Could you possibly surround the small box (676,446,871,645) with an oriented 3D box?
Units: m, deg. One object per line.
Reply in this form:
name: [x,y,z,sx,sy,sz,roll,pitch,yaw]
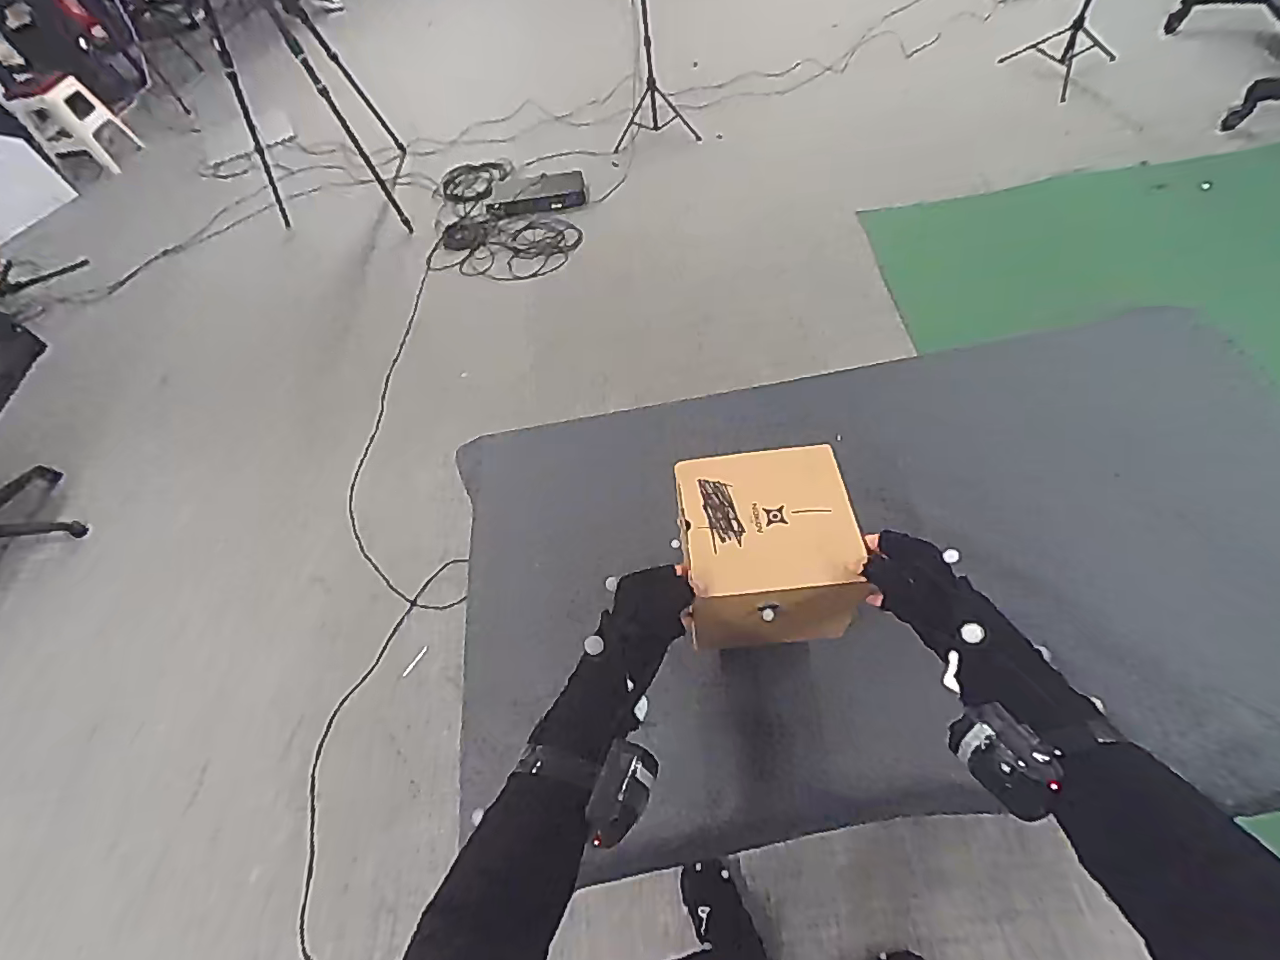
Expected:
small box: [0.140,0.083,0.627,0.179,0.176,0.168,-6,56,2]
